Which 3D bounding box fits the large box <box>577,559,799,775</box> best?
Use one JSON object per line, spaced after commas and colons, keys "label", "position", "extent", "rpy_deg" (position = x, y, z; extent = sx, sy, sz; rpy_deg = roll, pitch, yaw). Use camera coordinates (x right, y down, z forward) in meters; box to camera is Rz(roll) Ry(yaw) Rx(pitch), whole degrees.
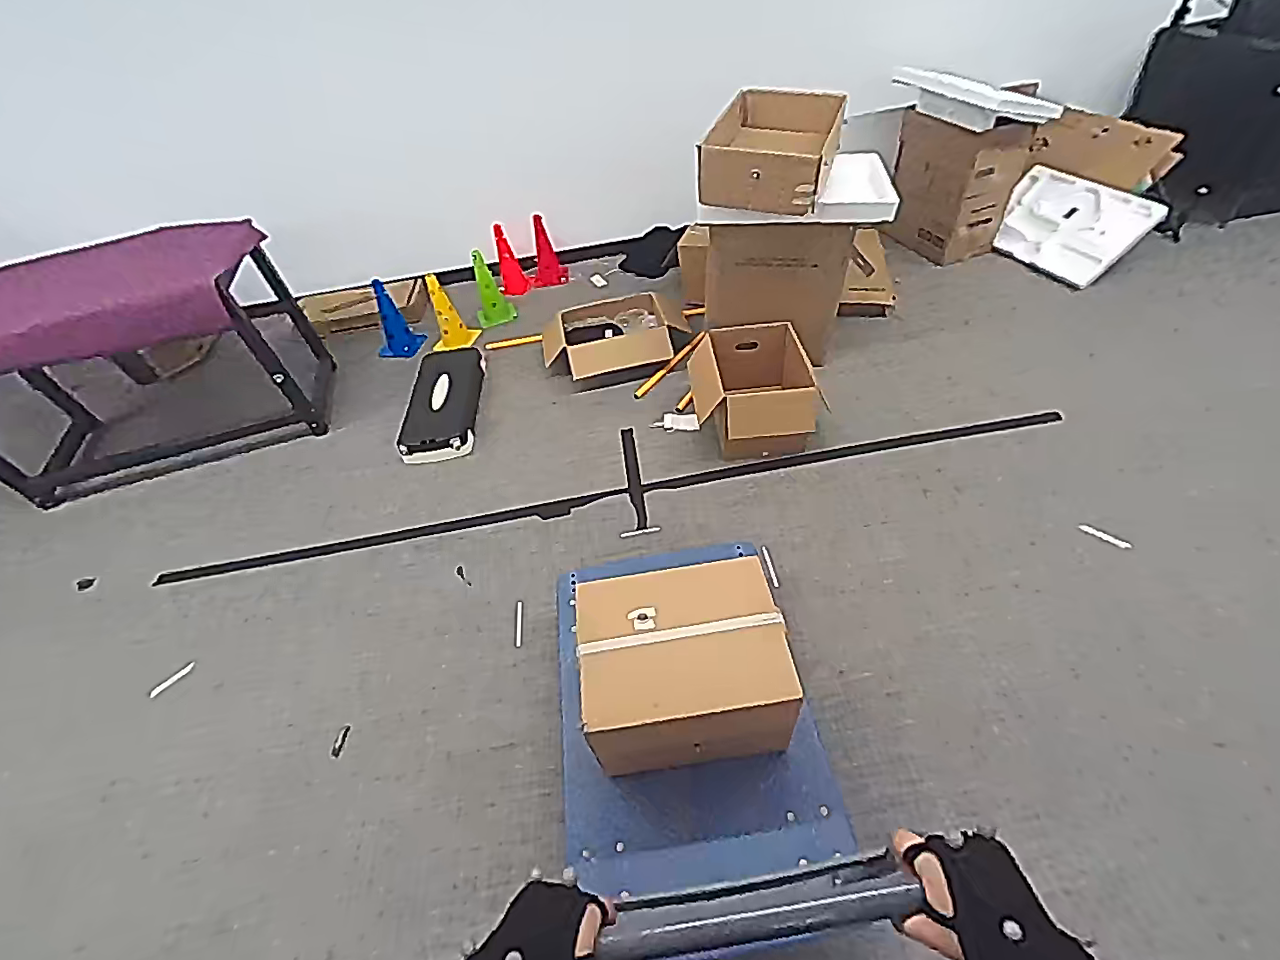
{"label": "large box", "position": [0.096, 0.419, 1.198], "extent": [0.408, 0.320, 0.320], "rpy_deg": [-10, 47, 0]}
